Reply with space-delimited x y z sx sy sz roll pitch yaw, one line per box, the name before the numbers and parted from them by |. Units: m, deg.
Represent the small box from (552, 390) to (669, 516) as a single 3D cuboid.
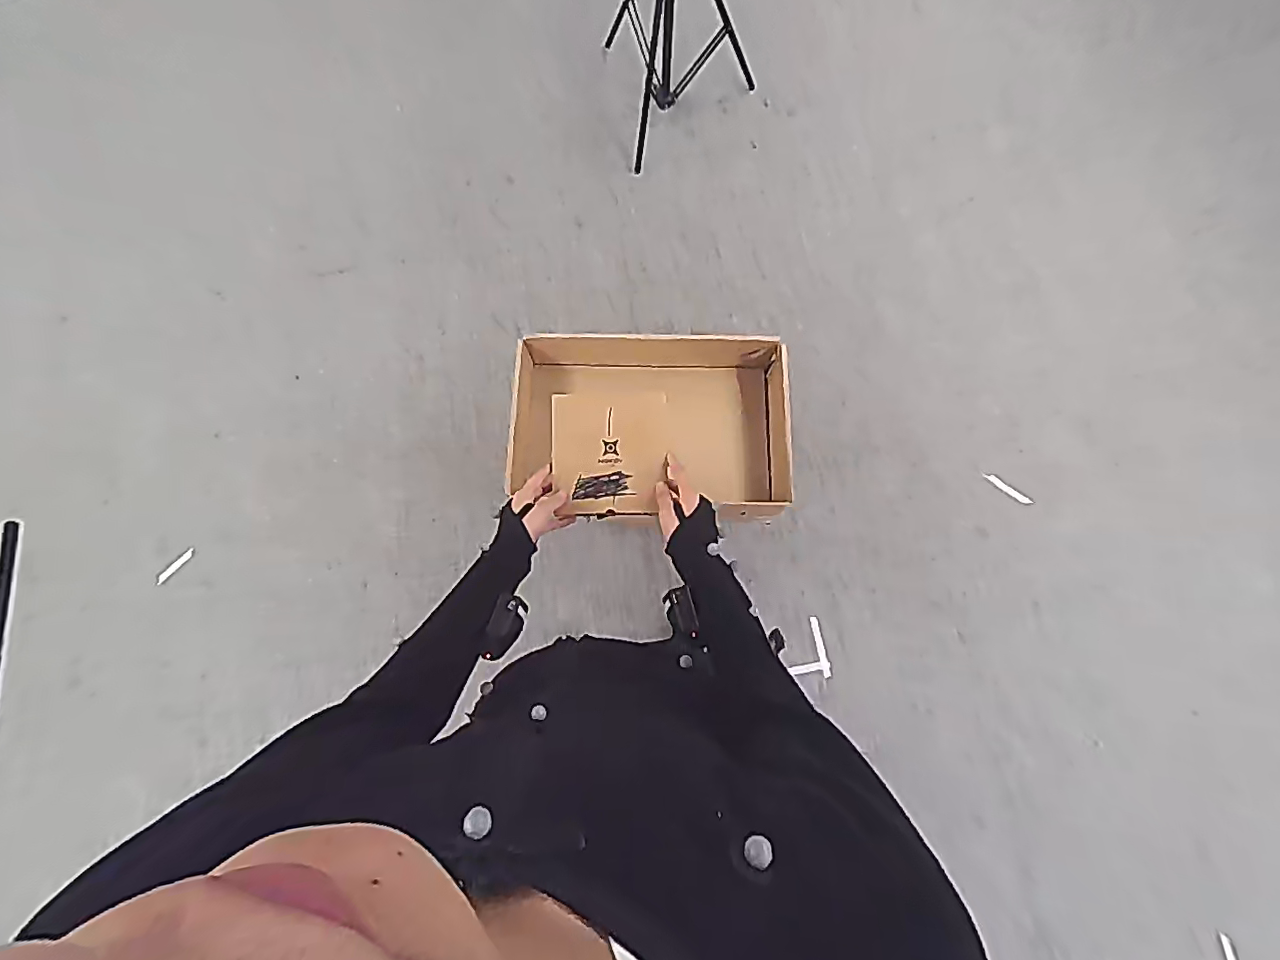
small box | -0.039 -0.035 0.831 0.168 0.176 0.179 -1 87 1
